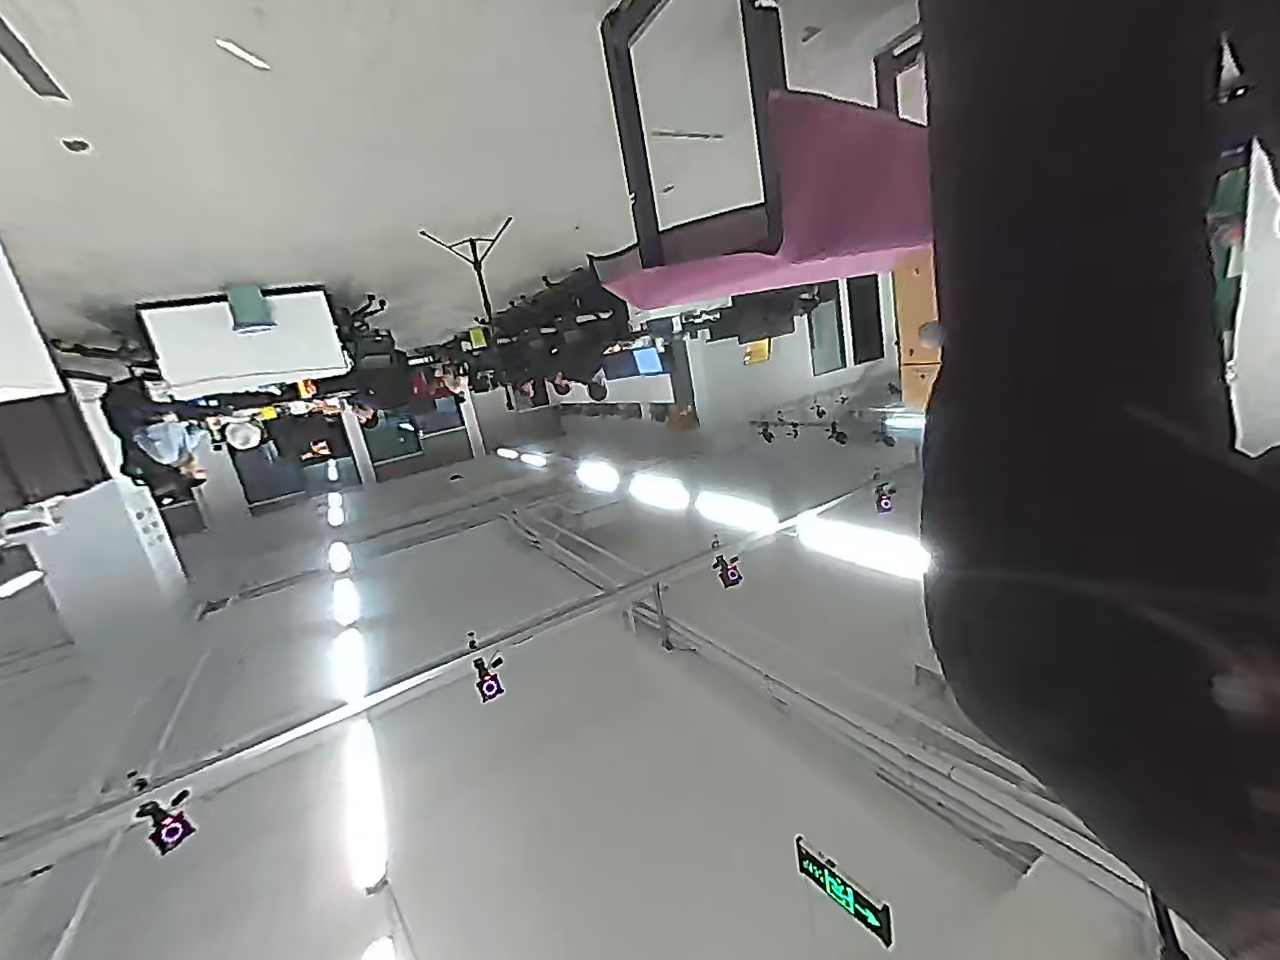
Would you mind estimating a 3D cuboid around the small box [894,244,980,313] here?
[{"bbox_3d":[0.923,-0.627,1.683,0.179,0.176,0.168,-15,-166,-17],"label":"small box"}]

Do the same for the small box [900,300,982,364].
[{"bbox_3d":[0.959,-0.473,1.730,0.168,0.176,0.179,-16,-166,-16],"label":"small box"}]
